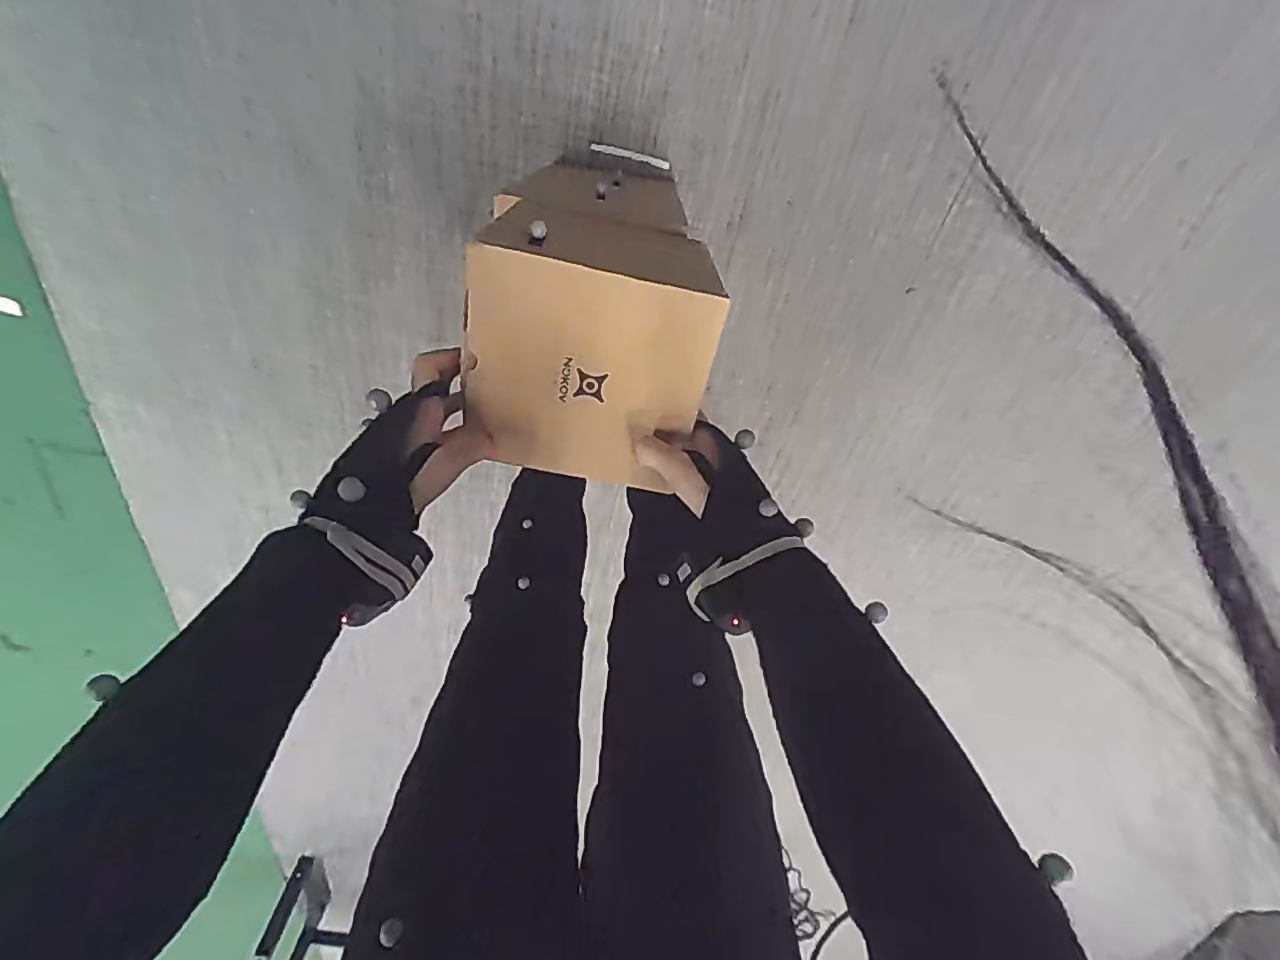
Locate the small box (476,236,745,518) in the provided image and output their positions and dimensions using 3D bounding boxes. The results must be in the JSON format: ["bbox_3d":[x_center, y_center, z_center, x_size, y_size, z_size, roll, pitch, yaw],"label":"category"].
[{"bbox_3d":[-0.026,-0.094,0.460,0.179,0.176,0.168,12,124,-4],"label":"small box"}]
